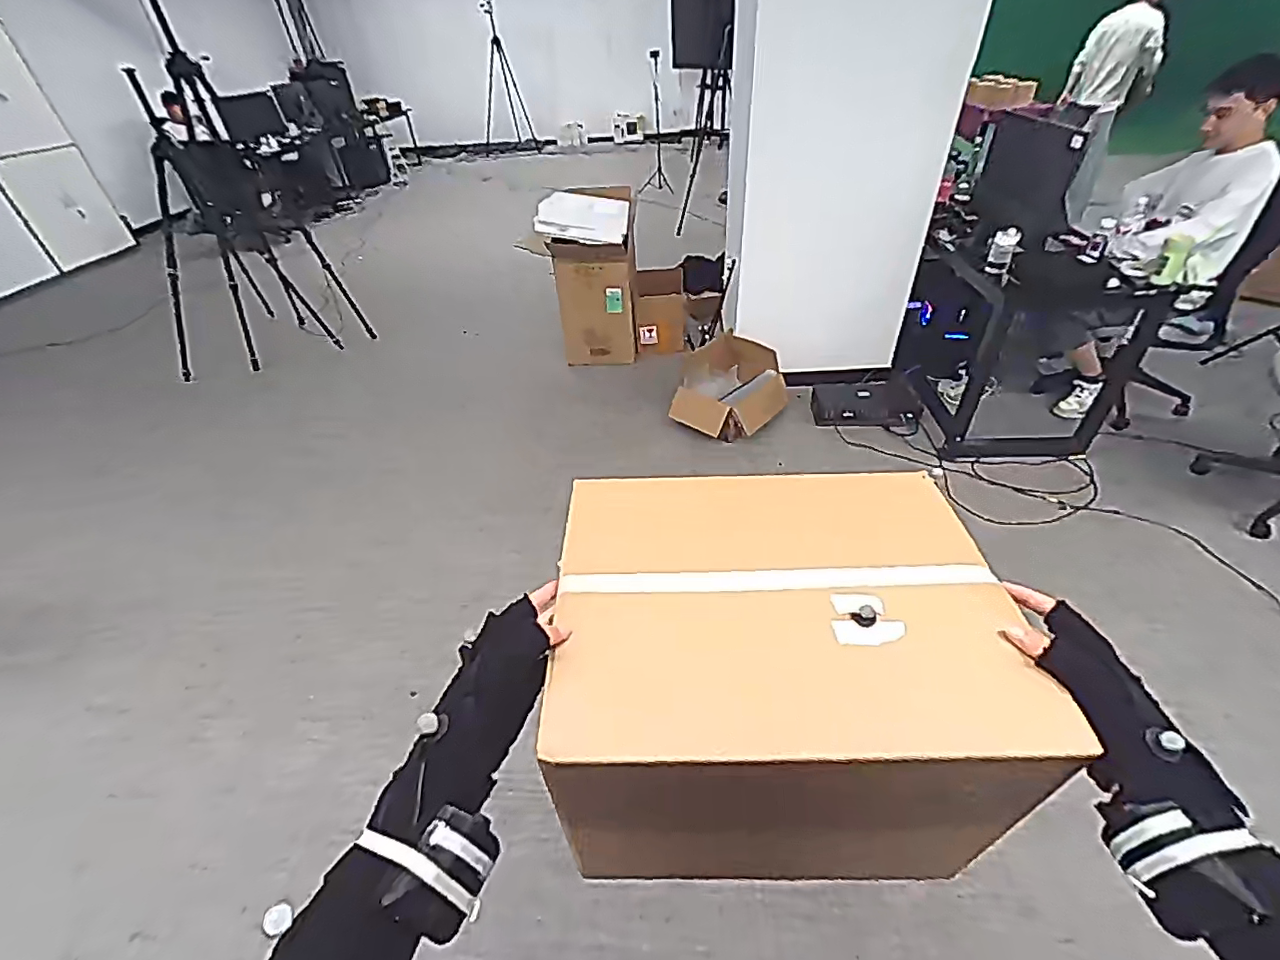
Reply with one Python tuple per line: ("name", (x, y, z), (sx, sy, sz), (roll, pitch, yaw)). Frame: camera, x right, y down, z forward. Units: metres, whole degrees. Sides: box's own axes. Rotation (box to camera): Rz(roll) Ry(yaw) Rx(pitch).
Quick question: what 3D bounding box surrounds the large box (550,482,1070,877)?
("large box", (0.129, 0.219, 0.614), (0.408, 0.320, 0.320), (-1, 41, 1))
